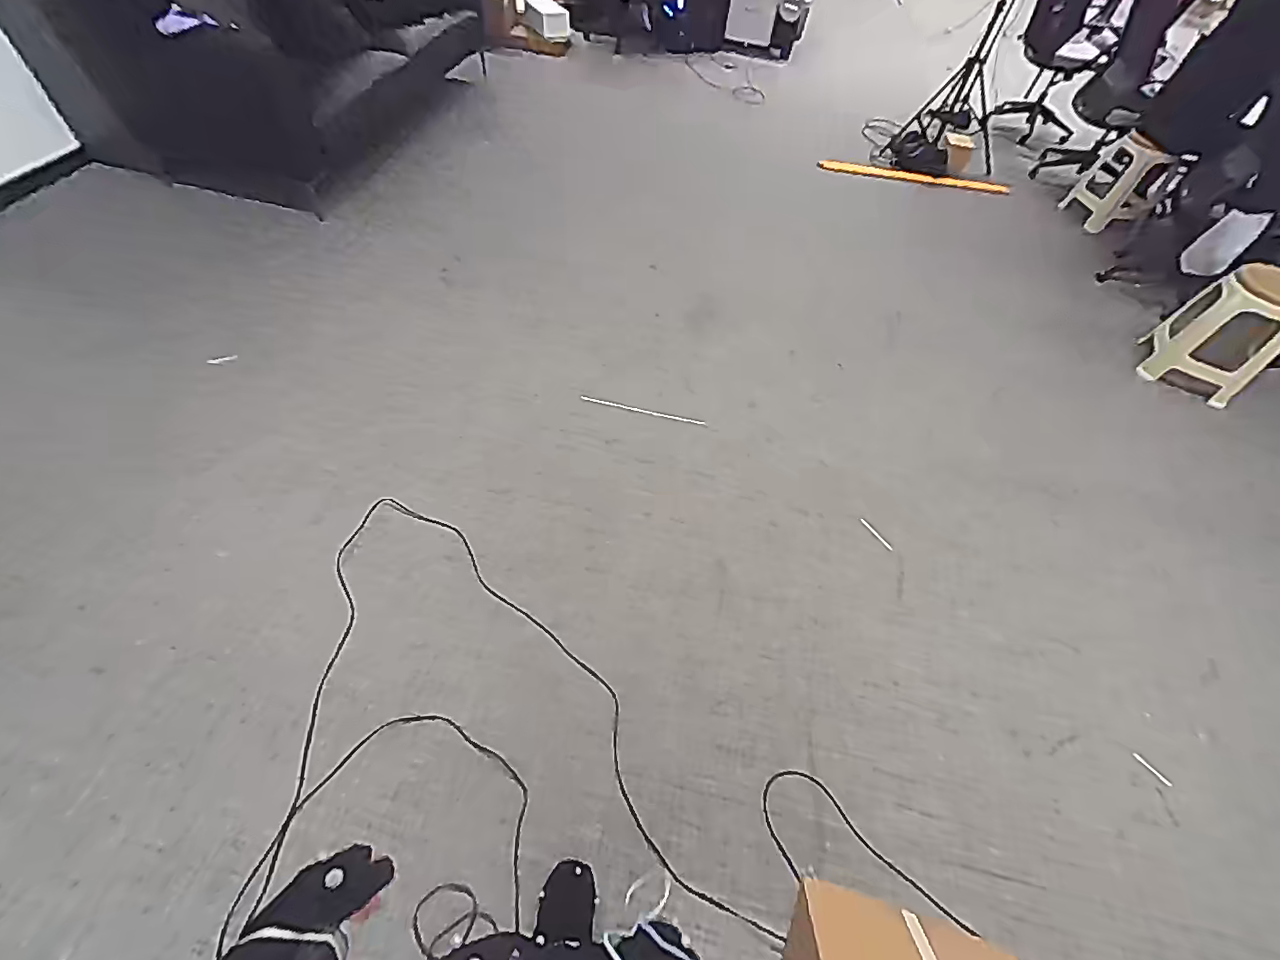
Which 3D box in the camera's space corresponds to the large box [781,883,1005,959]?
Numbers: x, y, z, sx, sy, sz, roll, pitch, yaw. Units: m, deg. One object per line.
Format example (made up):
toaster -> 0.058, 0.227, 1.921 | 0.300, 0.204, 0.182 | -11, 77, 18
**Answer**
large box -> 0.331, 0.806, 0.629 | 0.320, 0.408, 0.320 | 16, 90, 9
